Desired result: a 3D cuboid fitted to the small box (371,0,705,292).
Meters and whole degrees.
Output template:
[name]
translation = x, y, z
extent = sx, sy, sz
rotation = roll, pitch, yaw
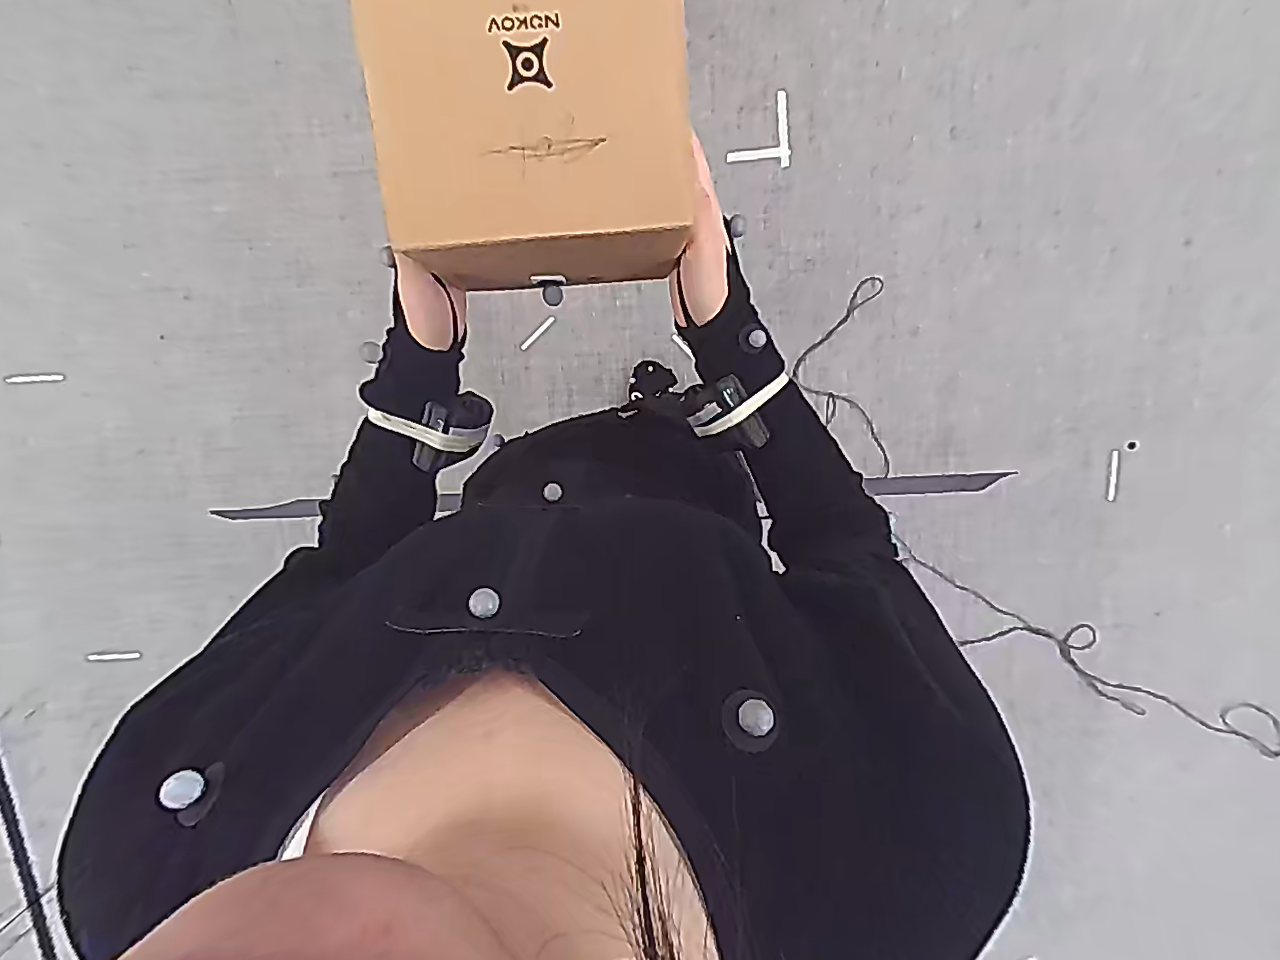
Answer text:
[small box]
translation = -0.055, -0.233, 0.357
extent = 0.168, 0.176, 0.179
rotation = -6, 102, -1
